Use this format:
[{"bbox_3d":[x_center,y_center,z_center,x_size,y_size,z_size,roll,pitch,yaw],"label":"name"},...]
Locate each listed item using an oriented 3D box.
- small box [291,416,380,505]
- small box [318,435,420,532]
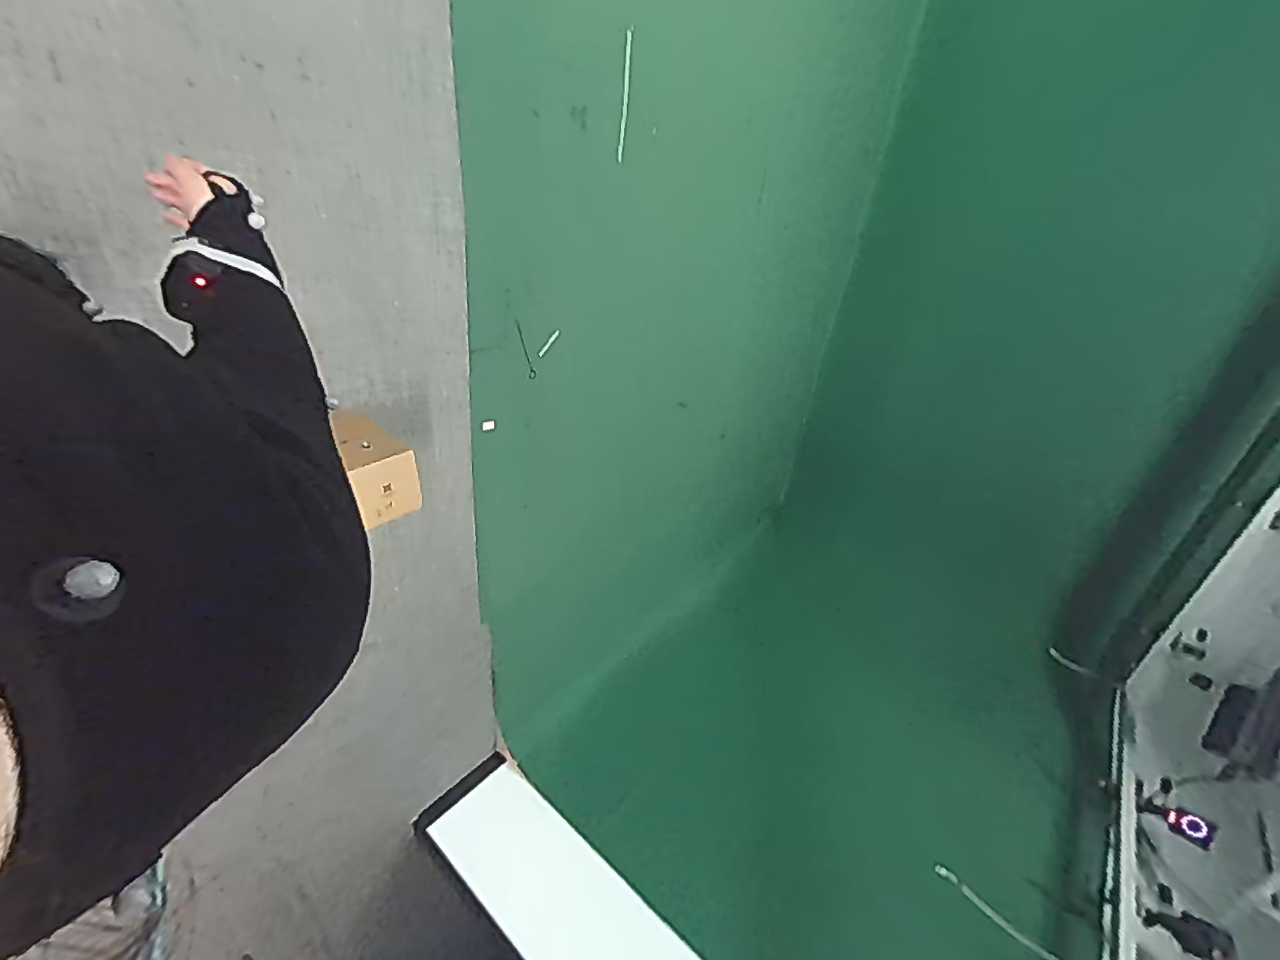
[{"bbox_3d":[-0.815,-0.063,1.466,0.168,0.176,0.179,-26,133,-43],"label":"small box"},{"bbox_3d":[-0.690,-0.002,1.378,0.168,0.176,0.179,-27,133,-41],"label":"small box"}]
